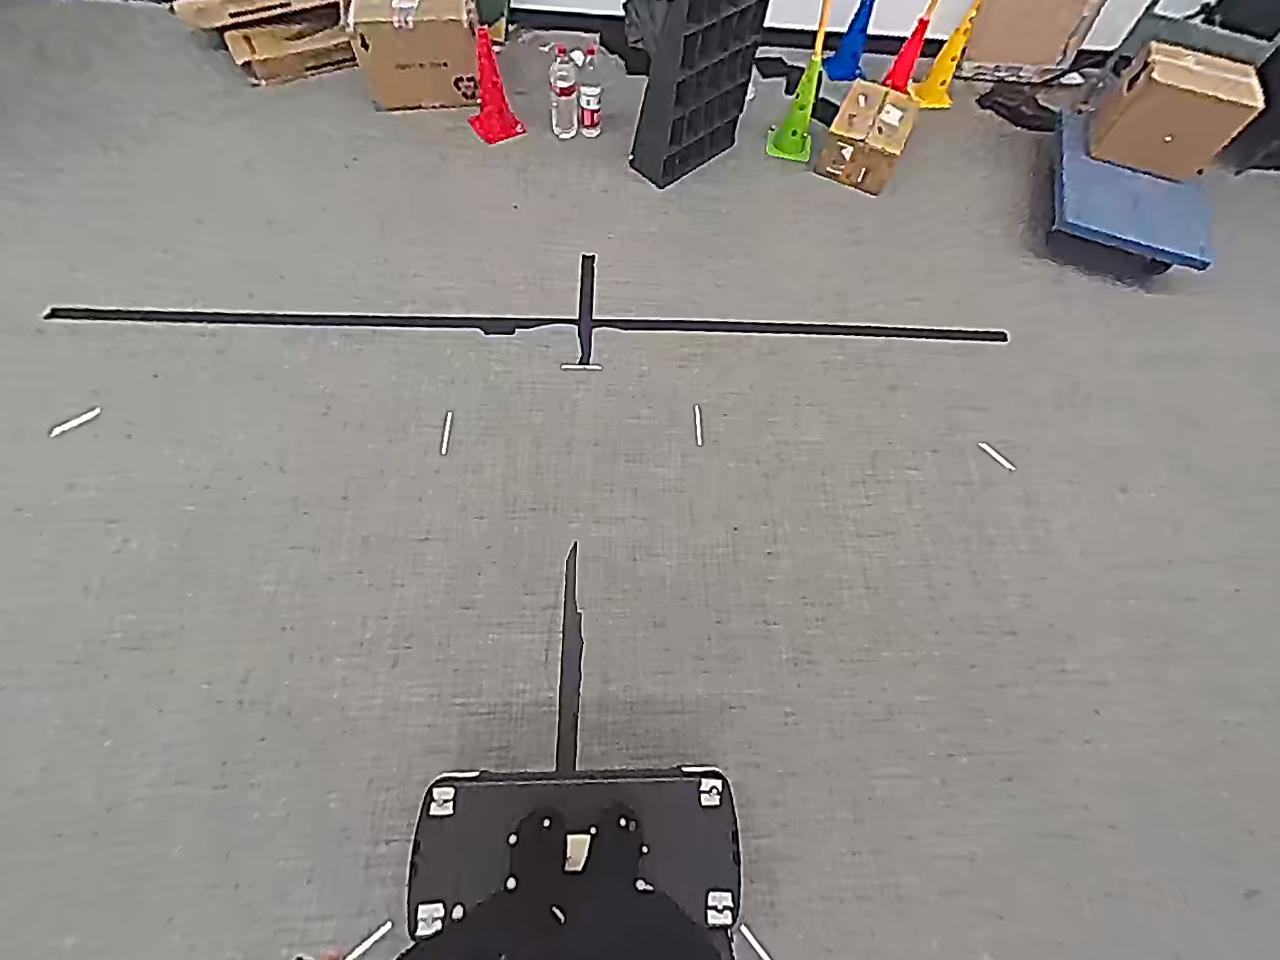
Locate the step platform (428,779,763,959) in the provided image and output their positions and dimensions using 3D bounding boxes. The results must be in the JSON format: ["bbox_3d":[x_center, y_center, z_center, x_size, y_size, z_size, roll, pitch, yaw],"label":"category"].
[{"bbox_3d":[-0.086,0.823,1.158,0.684,0.204,0.286,5,63,-3],"label":"step platform"}]
